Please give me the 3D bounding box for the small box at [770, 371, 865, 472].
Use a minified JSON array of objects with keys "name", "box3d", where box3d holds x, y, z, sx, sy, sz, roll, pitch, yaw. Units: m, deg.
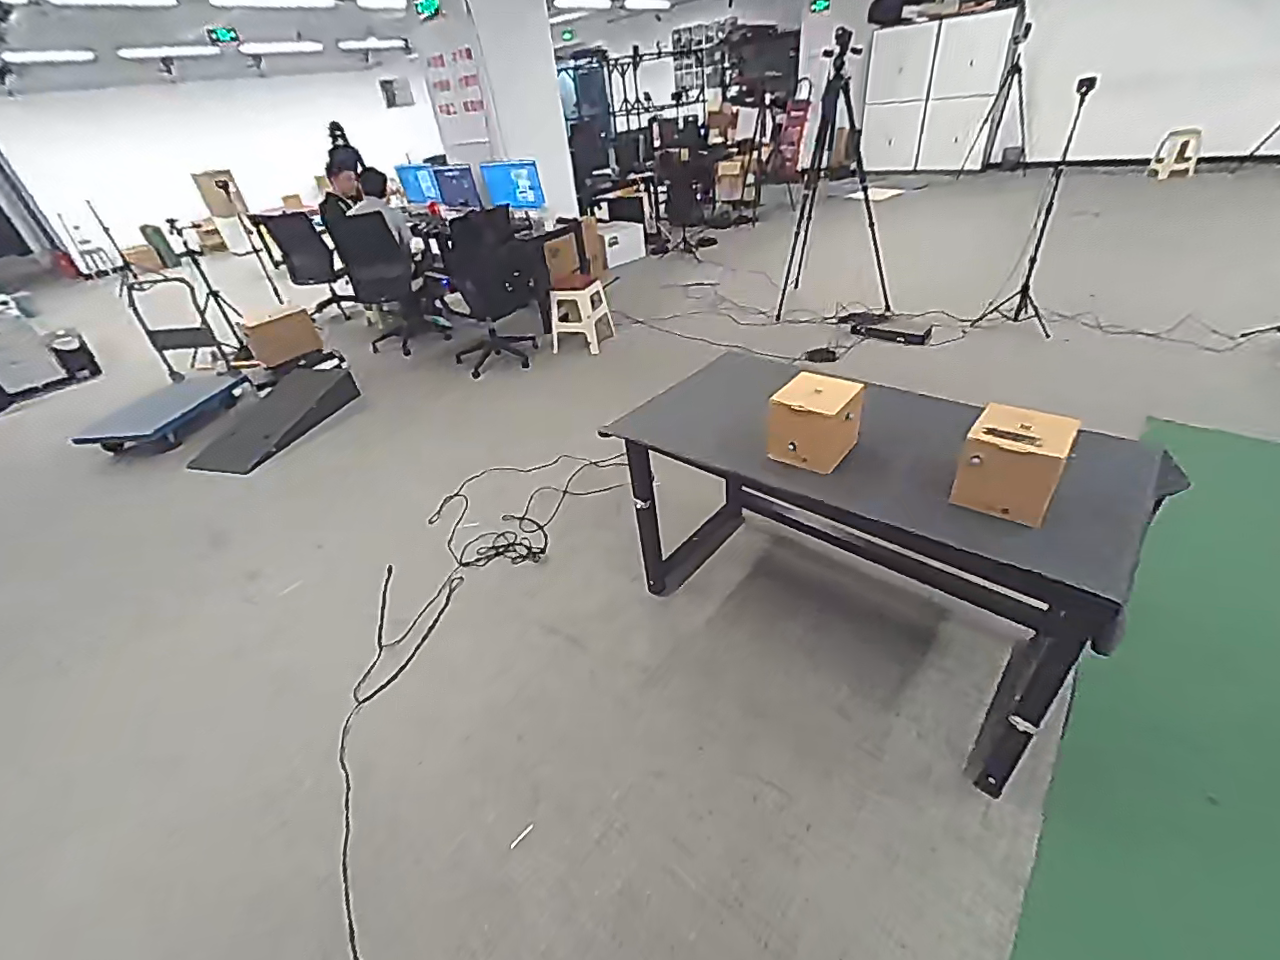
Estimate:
[{"name":"small box","box3d":[0.435,-0.147,1.348,0.168,0.176,0.179,23,46,34]}]
